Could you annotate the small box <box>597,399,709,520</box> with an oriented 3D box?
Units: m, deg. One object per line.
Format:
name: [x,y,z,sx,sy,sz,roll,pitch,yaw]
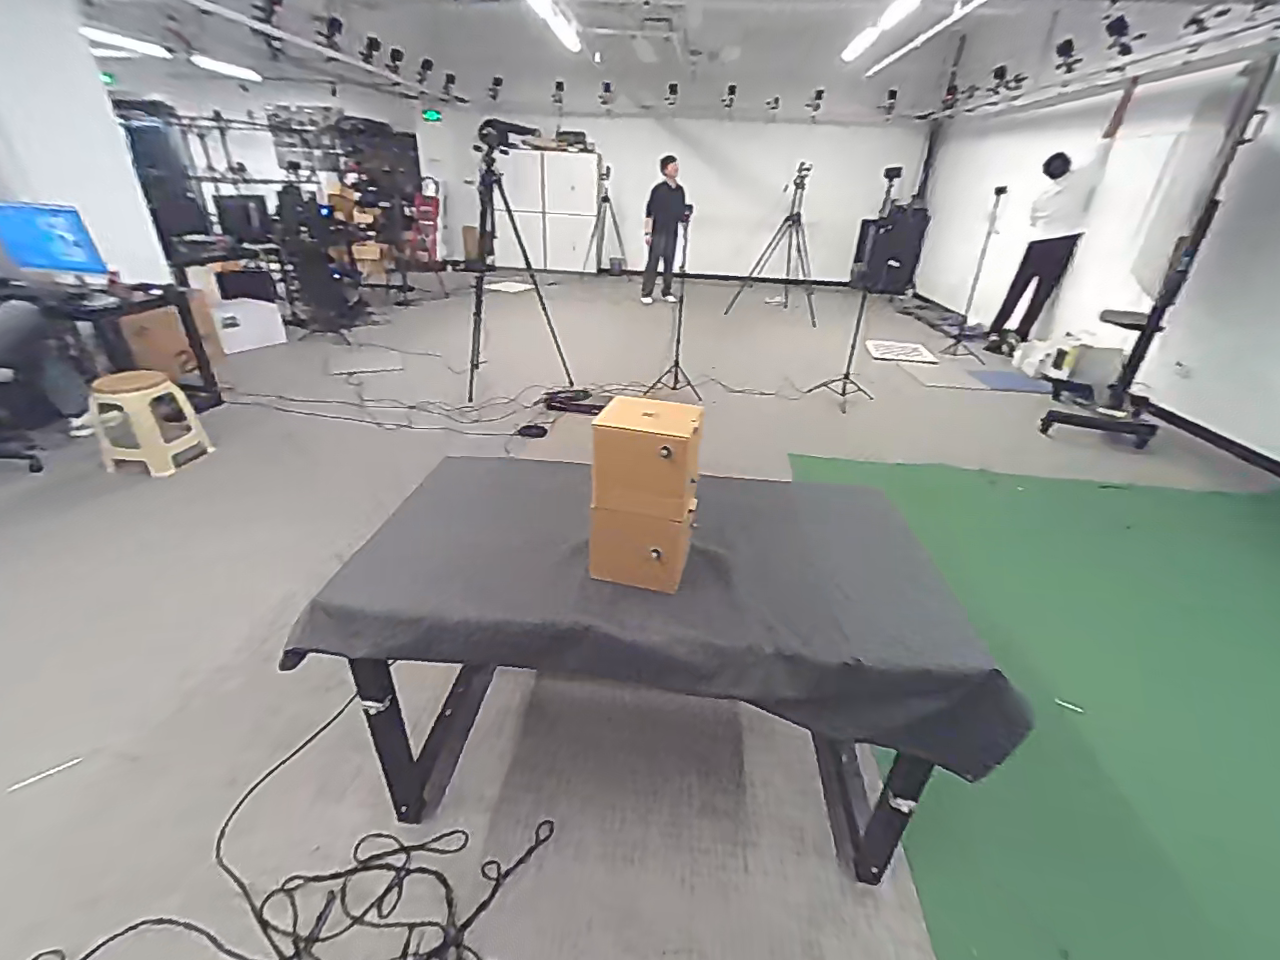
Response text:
small box: [0.024,-0.040,1.013,0.179,0.176,0.168,9,28,11]

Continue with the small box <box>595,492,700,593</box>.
small box: [0.017,0.105,1.084,0.179,0.176,0.168,8,27,12]
